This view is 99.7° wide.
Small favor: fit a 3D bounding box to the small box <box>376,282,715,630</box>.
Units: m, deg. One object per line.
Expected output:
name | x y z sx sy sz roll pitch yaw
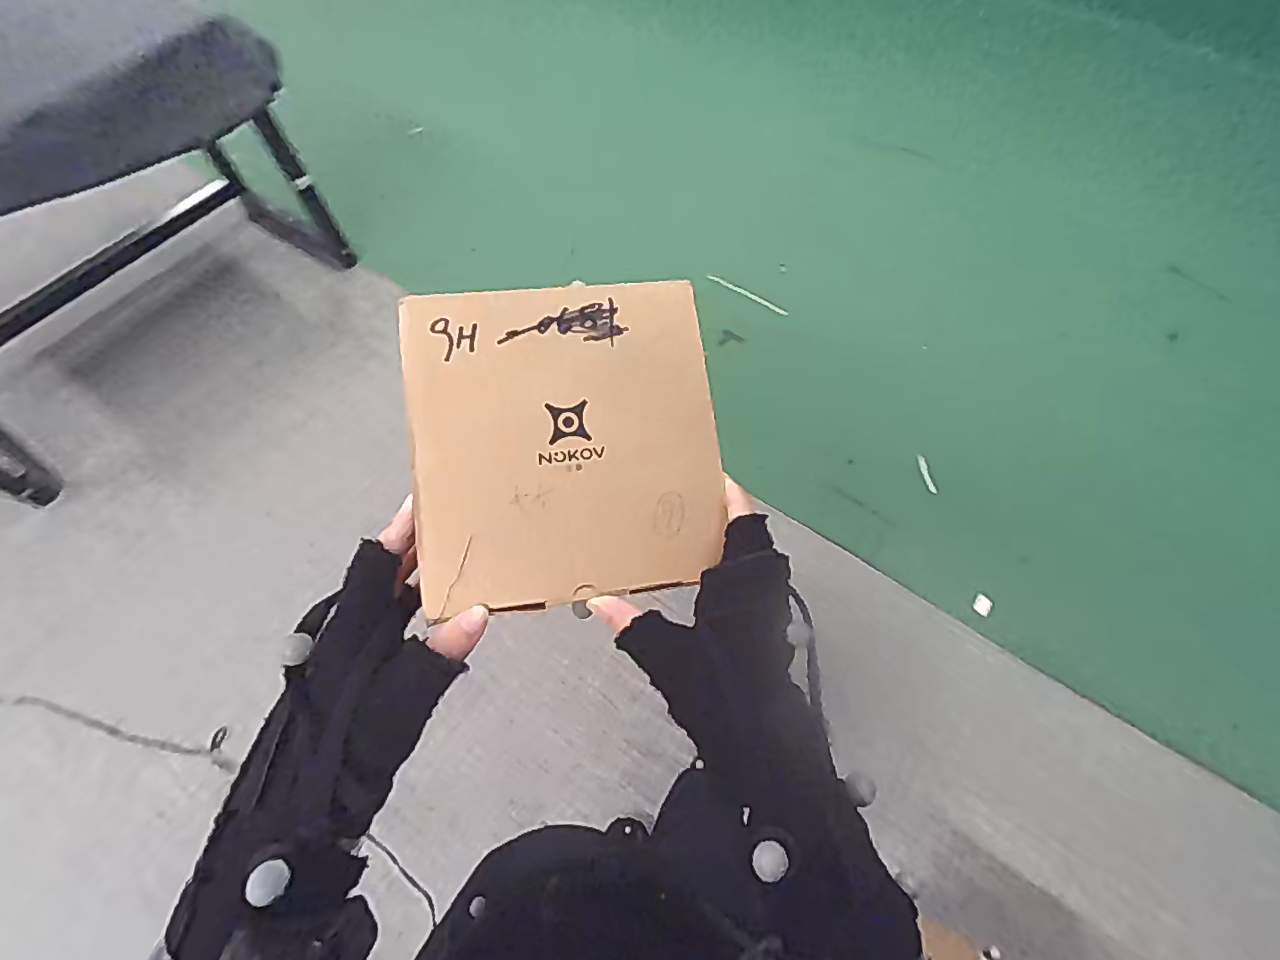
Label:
small box | -0.060 -0.009 0.374 0.168 0.176 0.179 -9 83 -9
